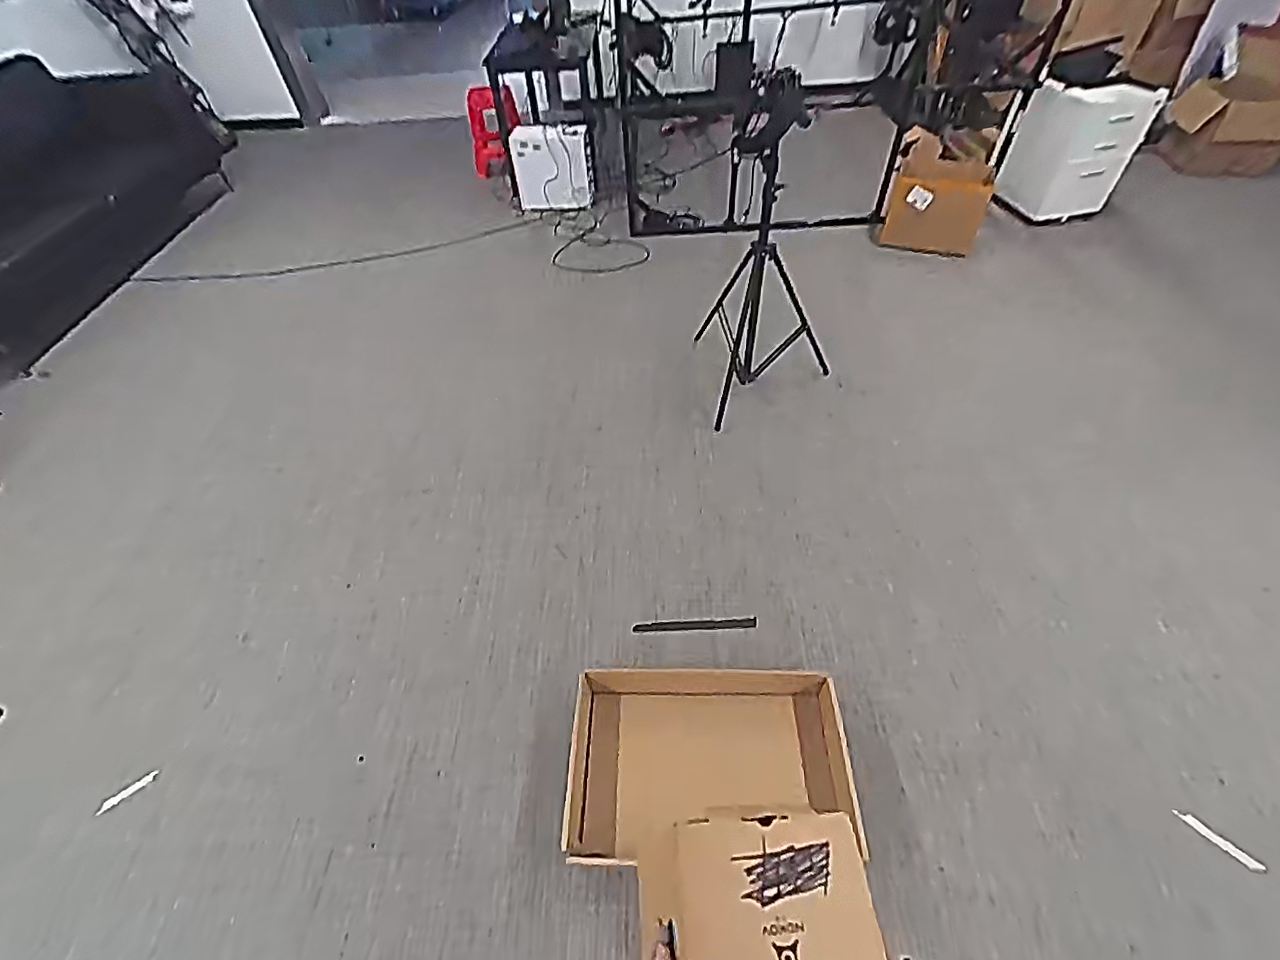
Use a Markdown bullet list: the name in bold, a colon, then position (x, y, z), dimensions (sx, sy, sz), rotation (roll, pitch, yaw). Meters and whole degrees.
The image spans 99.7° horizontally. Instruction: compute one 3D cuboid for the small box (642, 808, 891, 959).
- **small box**: position (0.100, 0.411, 0.483), dimensions (0.168, 0.176, 0.179), rotation (4, 51, -12)
